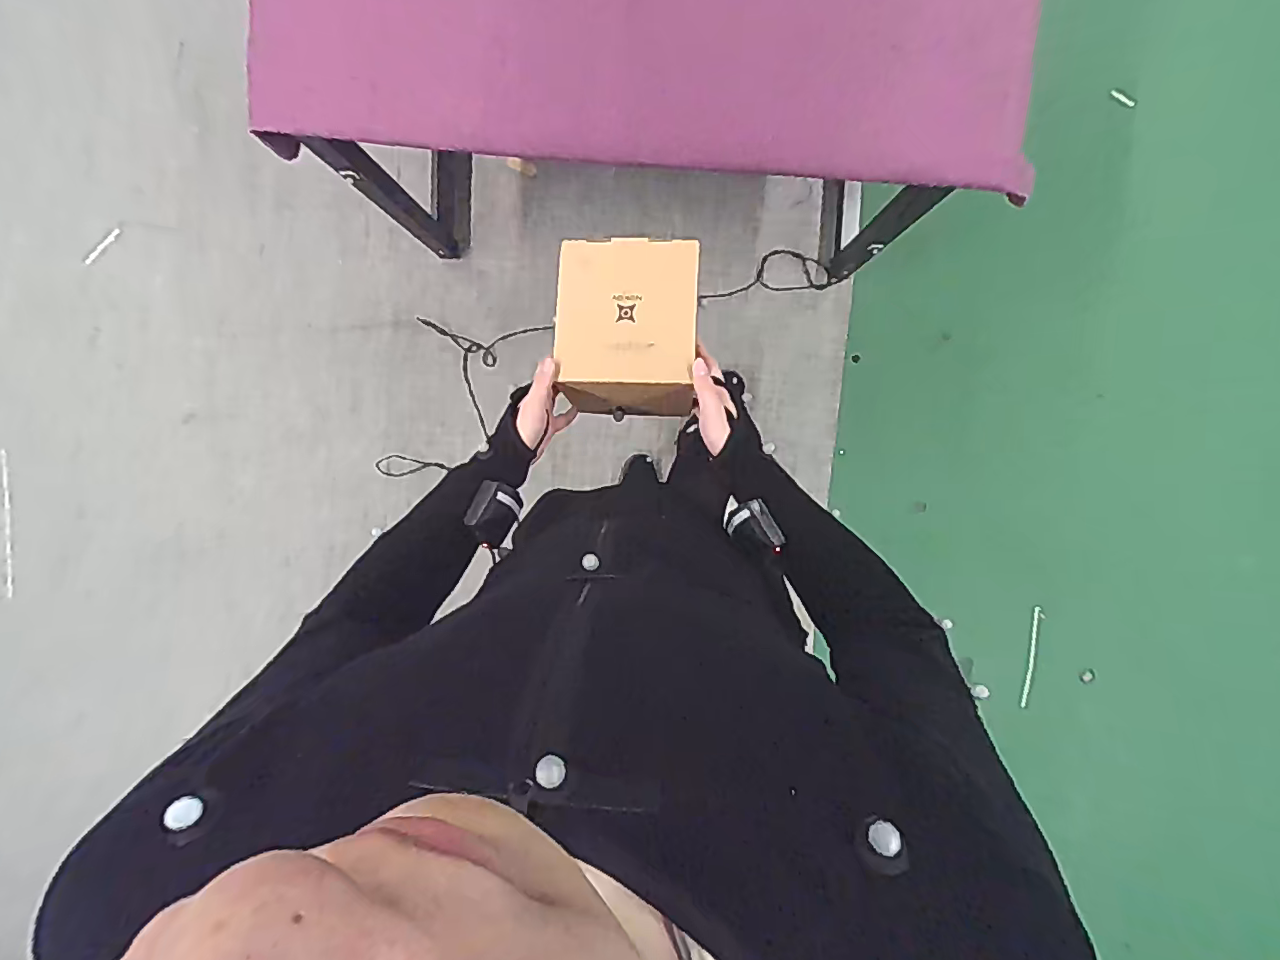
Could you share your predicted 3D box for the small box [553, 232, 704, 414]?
[{"bbox_3d":[-0.008,-0.191,0.695,0.168,0.176,0.179,2,85,4],"label":"small box"}]
